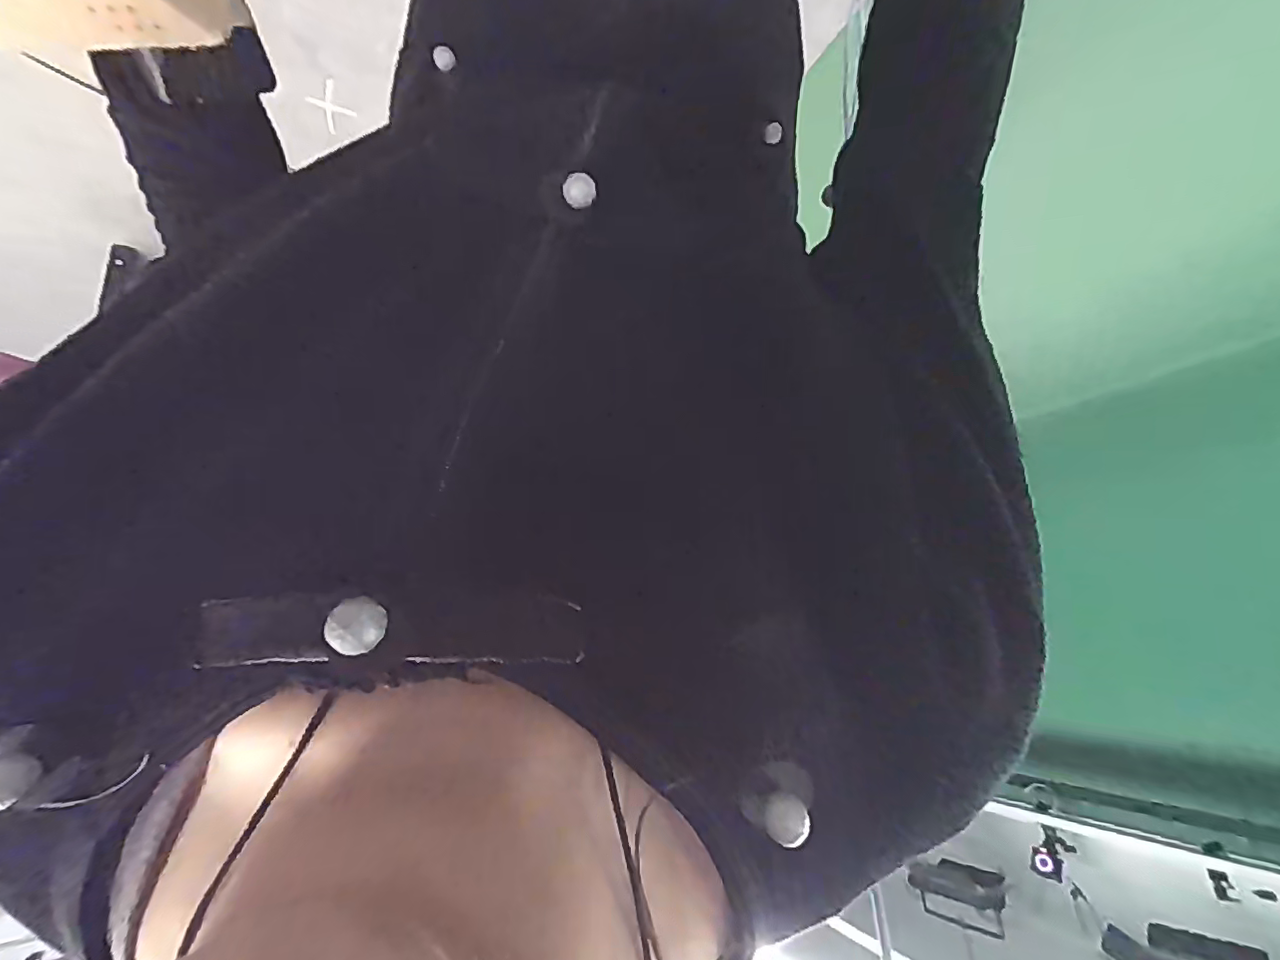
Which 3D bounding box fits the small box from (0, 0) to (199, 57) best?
[{"bbox_3d":[-0.203,-0.207,0.086,0.176,0.179,0.168,9,-173,10],"label":"small box"}]
